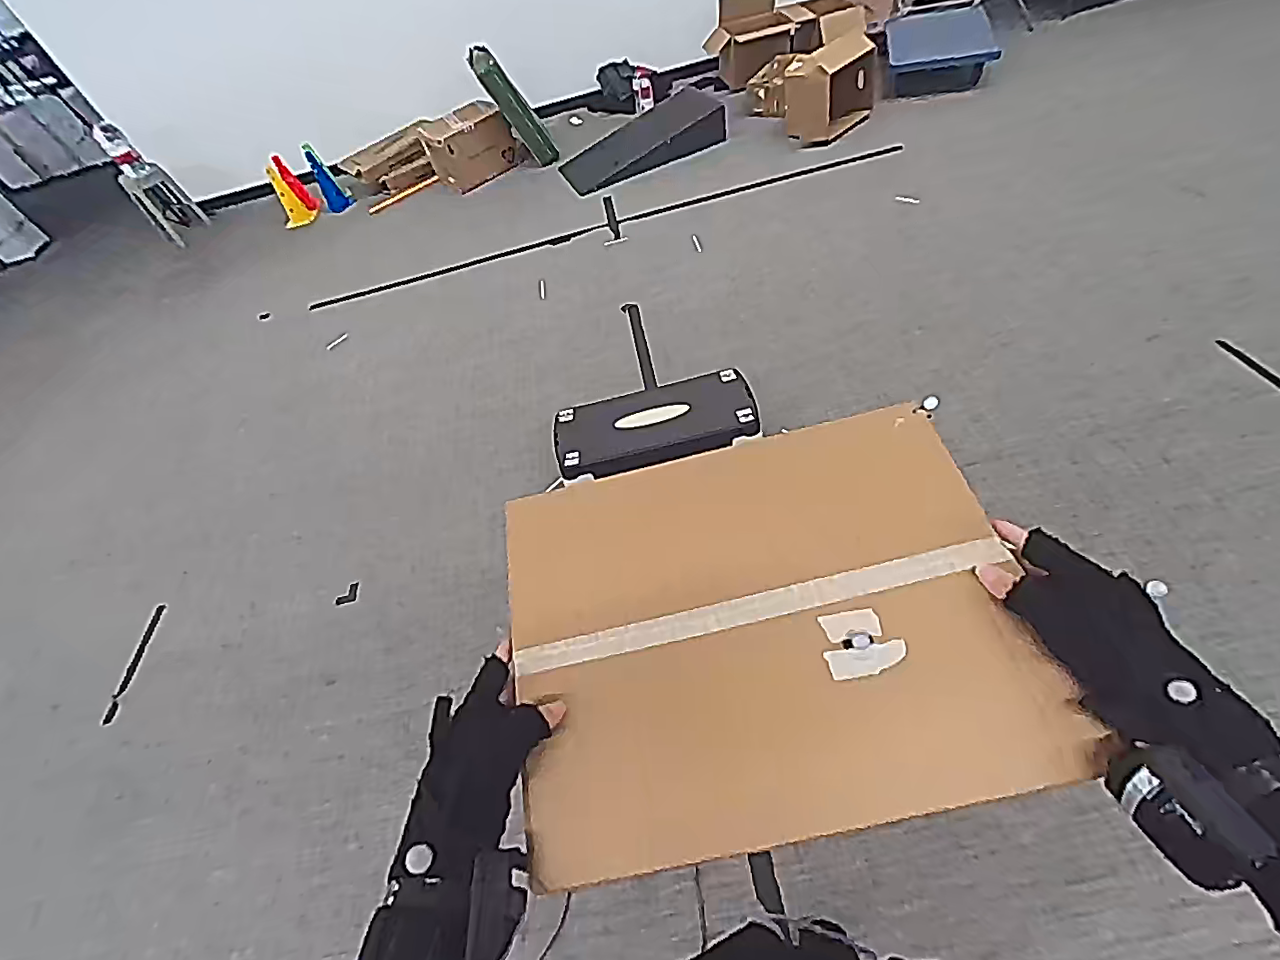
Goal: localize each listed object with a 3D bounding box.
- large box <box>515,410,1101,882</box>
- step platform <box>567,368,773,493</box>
[{"bbox_3d":[0.119,0.182,0.577,0.408,0.320,0.320,-14,59,3],"label":"large box"},{"bbox_3d":[0.096,-0.155,1.838,0.684,0.204,0.286,-14,51,2],"label":"step platform"}]
